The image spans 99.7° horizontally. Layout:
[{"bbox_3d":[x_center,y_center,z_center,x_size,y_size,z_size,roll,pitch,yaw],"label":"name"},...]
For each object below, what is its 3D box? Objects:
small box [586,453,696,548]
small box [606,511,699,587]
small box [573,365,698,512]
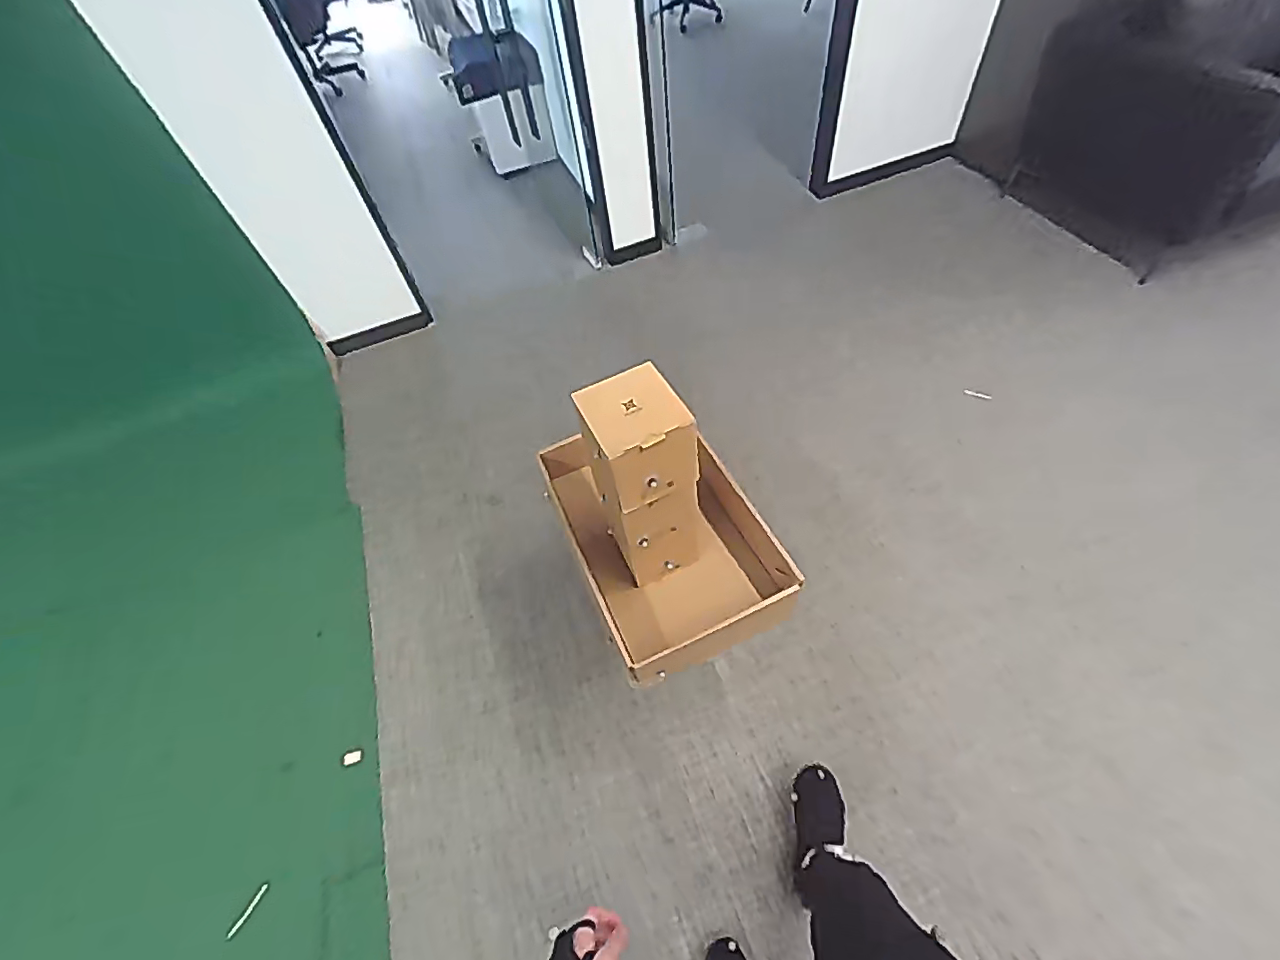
[{"bbox_3d":[0.008,0.021,1.128,0.168,0.176,0.179,-25,53,-10],"label":"small box"},{"bbox_3d":[0.027,0.117,1.259,0.168,0.176,0.179,-23,54,-8],"label":"small box"},{"bbox_3d":[-0.006,-0.074,0.997,0.168,0.176,0.179,-25,55,-11],"label":"small box"}]
